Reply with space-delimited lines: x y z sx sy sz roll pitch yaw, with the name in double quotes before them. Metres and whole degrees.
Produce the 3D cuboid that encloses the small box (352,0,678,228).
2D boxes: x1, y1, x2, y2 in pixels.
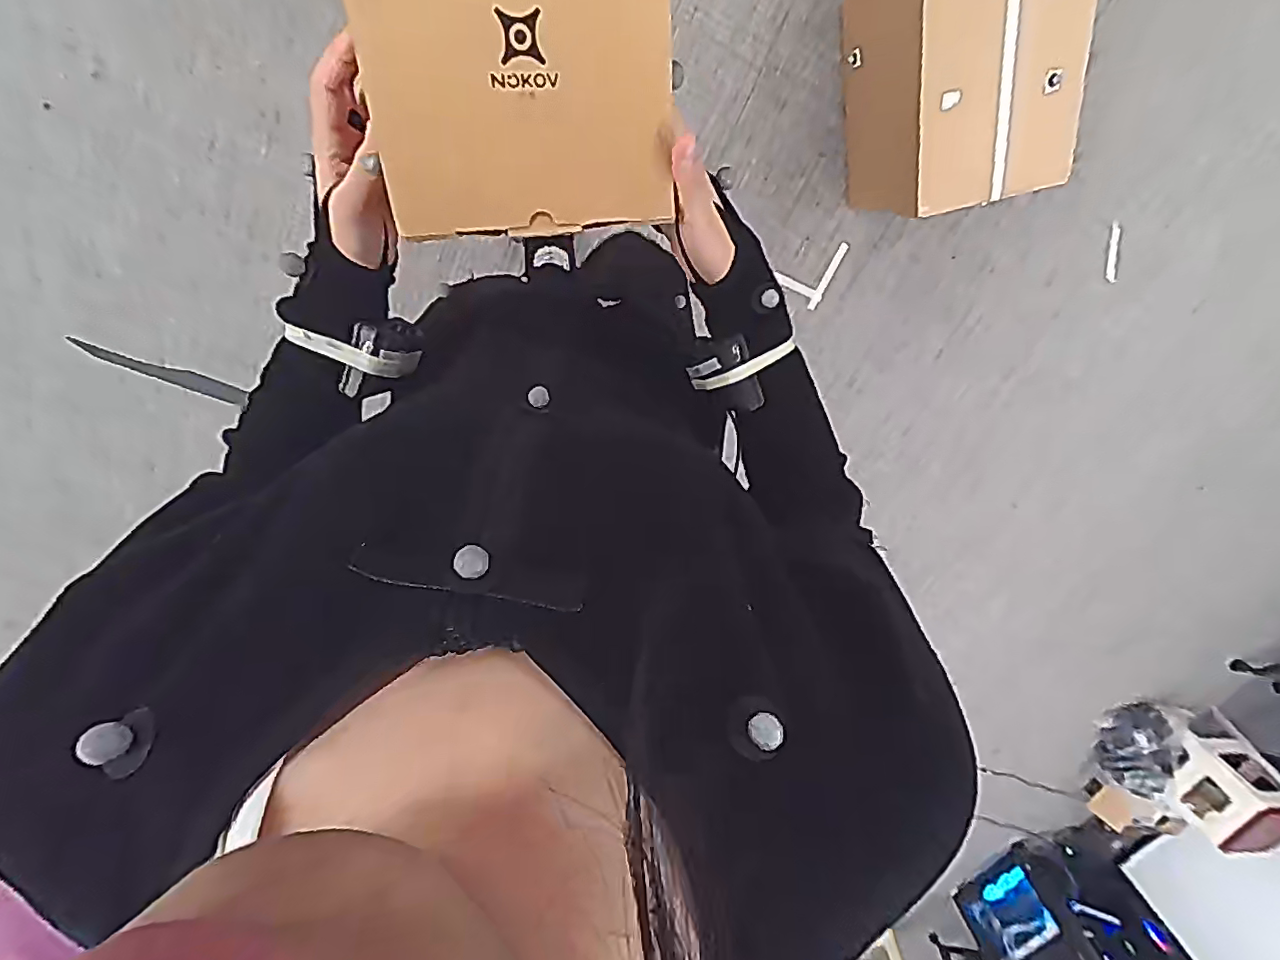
"small box" -0.079 -0.268 0.348 0.168 0.176 0.179 -10 120 -10
